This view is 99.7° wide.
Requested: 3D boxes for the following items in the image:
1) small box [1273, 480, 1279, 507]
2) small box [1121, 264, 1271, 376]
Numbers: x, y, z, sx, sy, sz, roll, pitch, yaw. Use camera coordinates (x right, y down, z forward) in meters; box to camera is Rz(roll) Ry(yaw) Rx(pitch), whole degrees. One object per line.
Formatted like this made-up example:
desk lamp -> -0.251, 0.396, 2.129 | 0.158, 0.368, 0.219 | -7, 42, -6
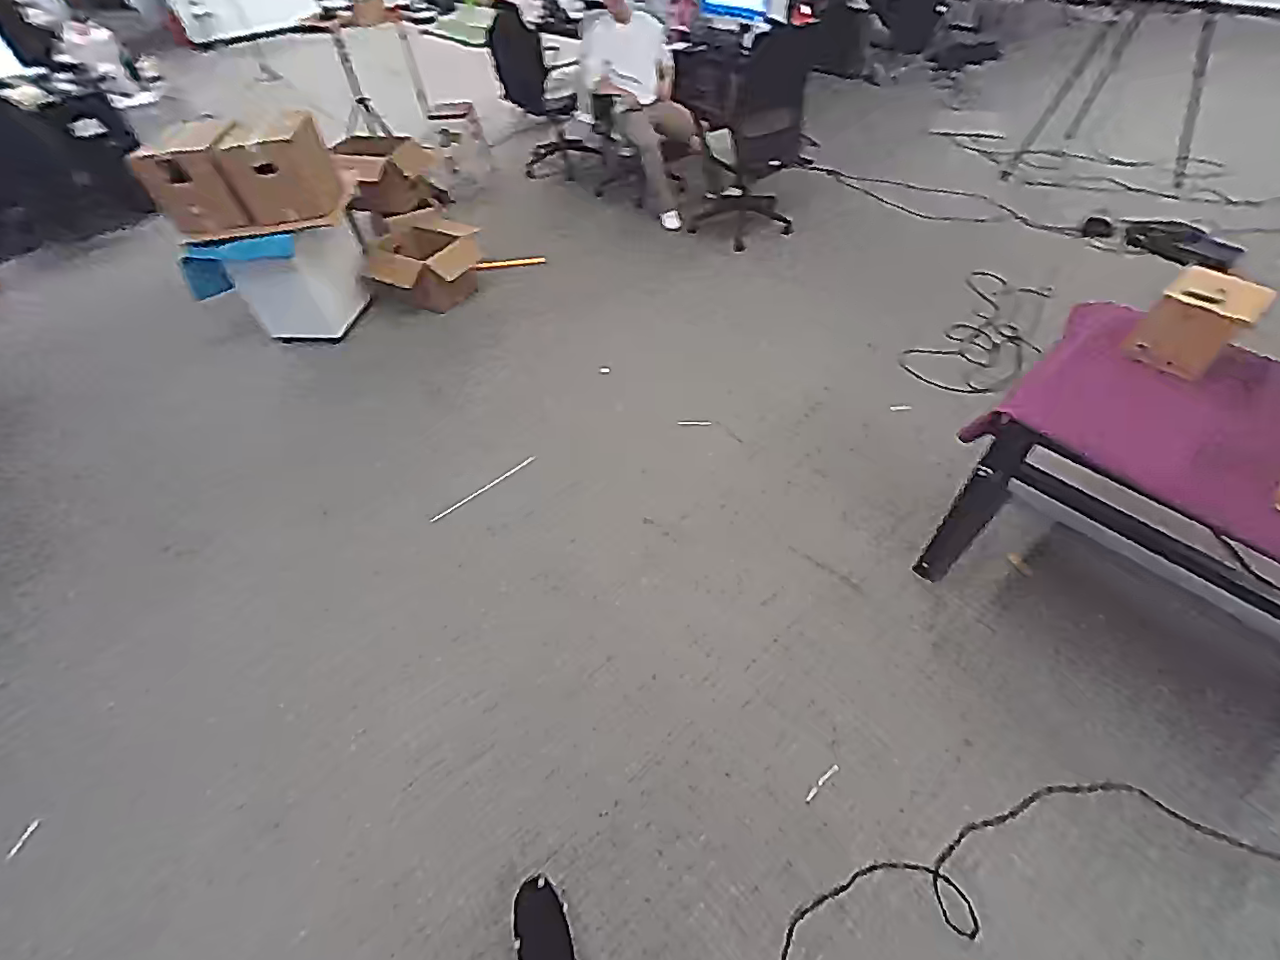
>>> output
small box -> 1.322, -0.010, 0.973 | 0.179, 0.176, 0.168 | -36, 56, -24
small box -> 1.305, -0.378, 1.285 | 0.179, 0.176, 0.168 | -34, 56, -21
